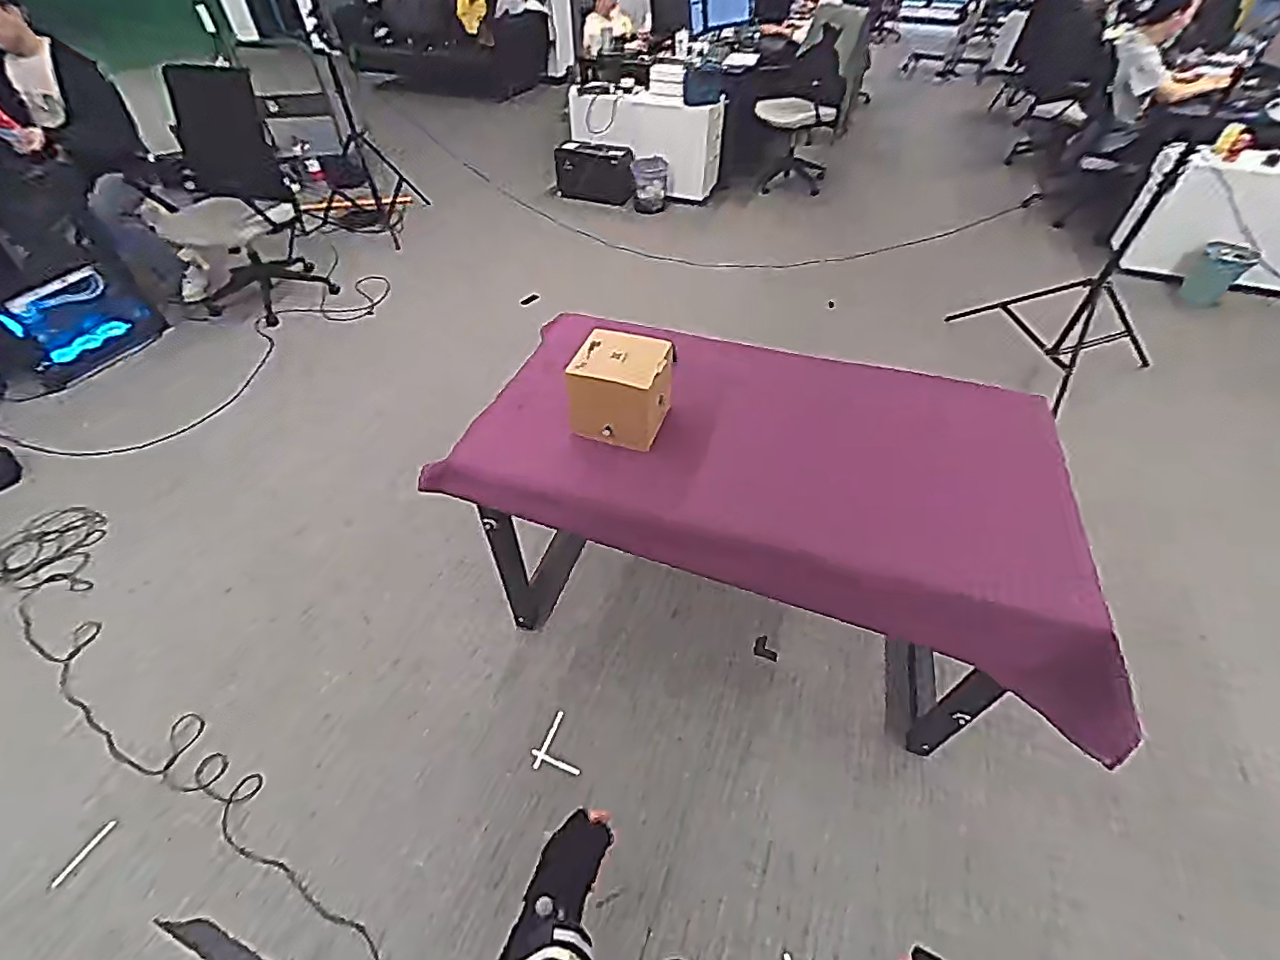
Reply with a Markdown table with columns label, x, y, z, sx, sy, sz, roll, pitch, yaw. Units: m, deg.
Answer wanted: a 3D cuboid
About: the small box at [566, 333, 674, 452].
| label | x | y | z | sx | sy | sz | roll | pitch | yaw |
| --- | --- | --- | --- | --- | --- | --- | --- | --- | --- |
| small box | -0.038 | -0.182 | 1.142 | 0.179 | 0.176 | 0.168 | 14 | 48 | 12 |
